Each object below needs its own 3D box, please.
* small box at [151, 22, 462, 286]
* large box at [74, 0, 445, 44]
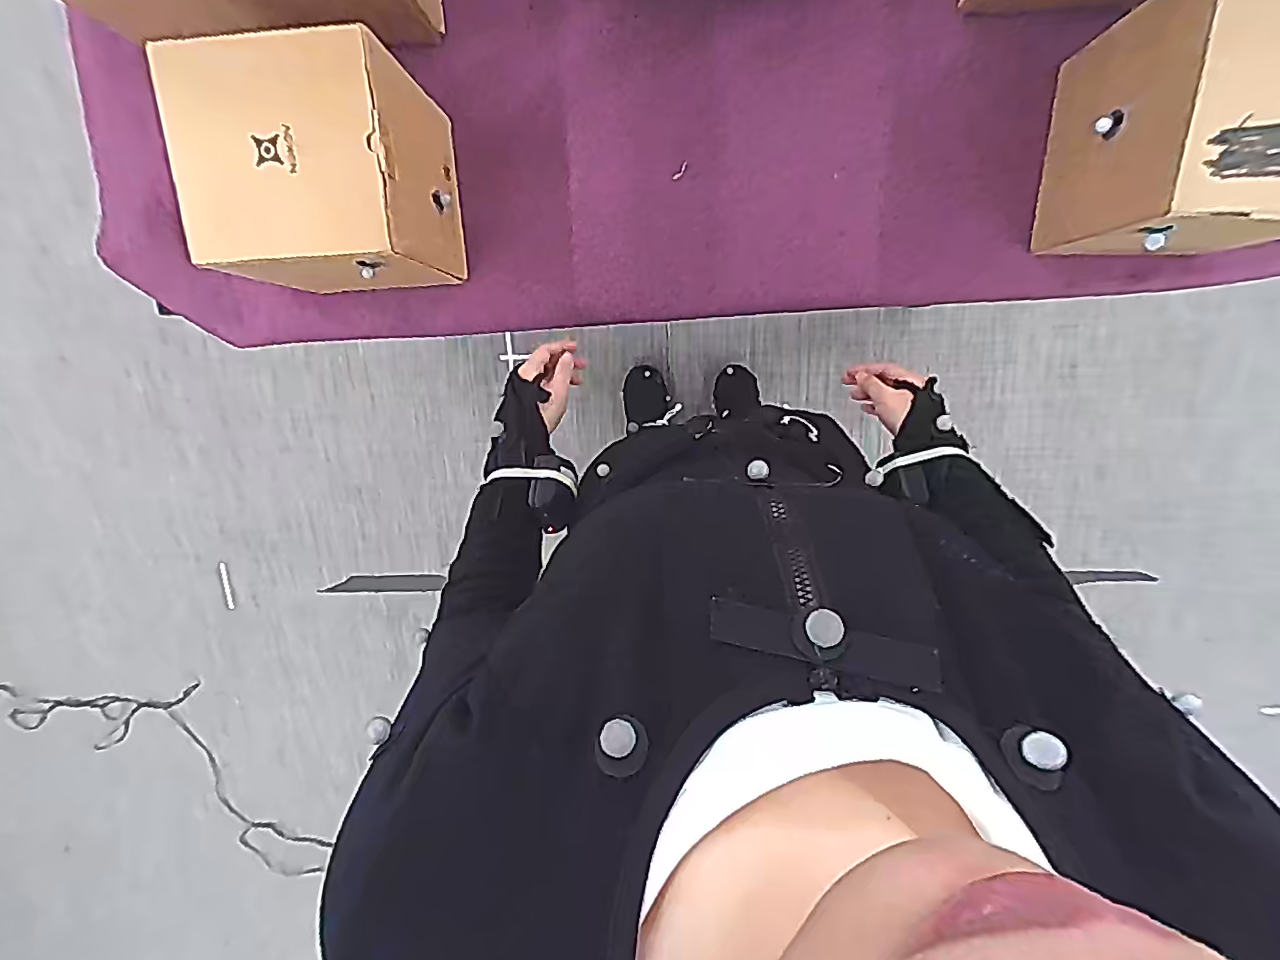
[{"bbox_3d":[-0.293,-0.286,0.516,0.179,0.176,0.168,-3,102,3],"label":"small box"},{"bbox_3d":[-0.361,-0.603,0.369,0.320,0.320,0.408,-2,106,2],"label":"large box"}]
